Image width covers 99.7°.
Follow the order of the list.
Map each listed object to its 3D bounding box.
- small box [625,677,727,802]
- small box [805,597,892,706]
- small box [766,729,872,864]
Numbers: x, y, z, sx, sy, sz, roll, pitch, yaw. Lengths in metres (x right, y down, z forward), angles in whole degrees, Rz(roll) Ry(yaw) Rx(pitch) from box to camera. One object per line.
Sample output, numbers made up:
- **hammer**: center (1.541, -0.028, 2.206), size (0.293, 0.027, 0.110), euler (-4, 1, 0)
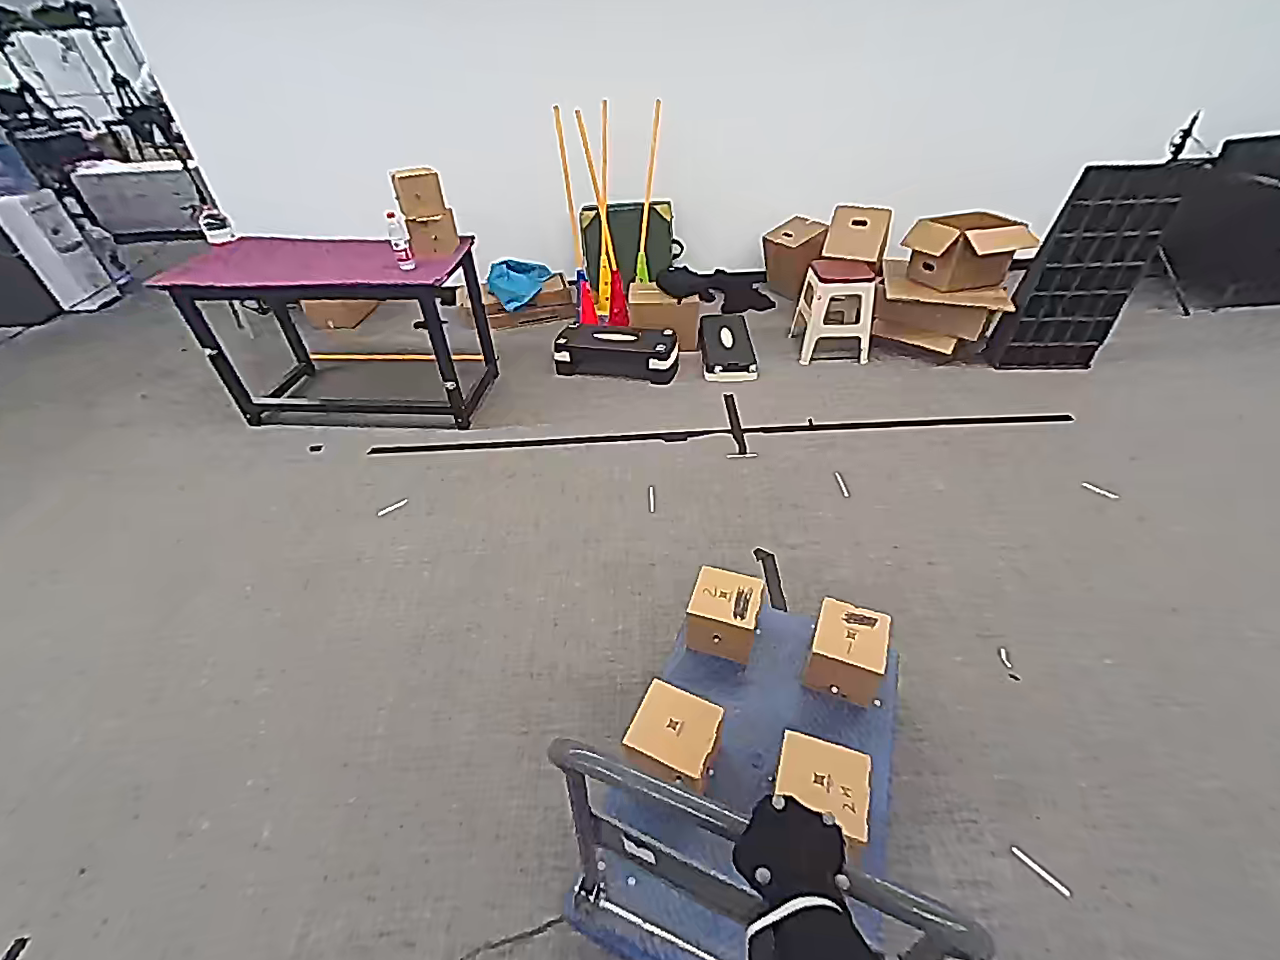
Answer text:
- **small box**: center (0.080, 0.587, 1.220), size (0.179, 0.176, 0.168), euler (17, 44, 20)
- **small box**: center (0.526, 0.436, 1.375), size (0.168, 0.176, 0.179), euler (15, 44, 19)
- **small box**: center (0.367, 0.658, 1.122), size (0.179, 0.176, 0.168), euler (13, 43, 17)
